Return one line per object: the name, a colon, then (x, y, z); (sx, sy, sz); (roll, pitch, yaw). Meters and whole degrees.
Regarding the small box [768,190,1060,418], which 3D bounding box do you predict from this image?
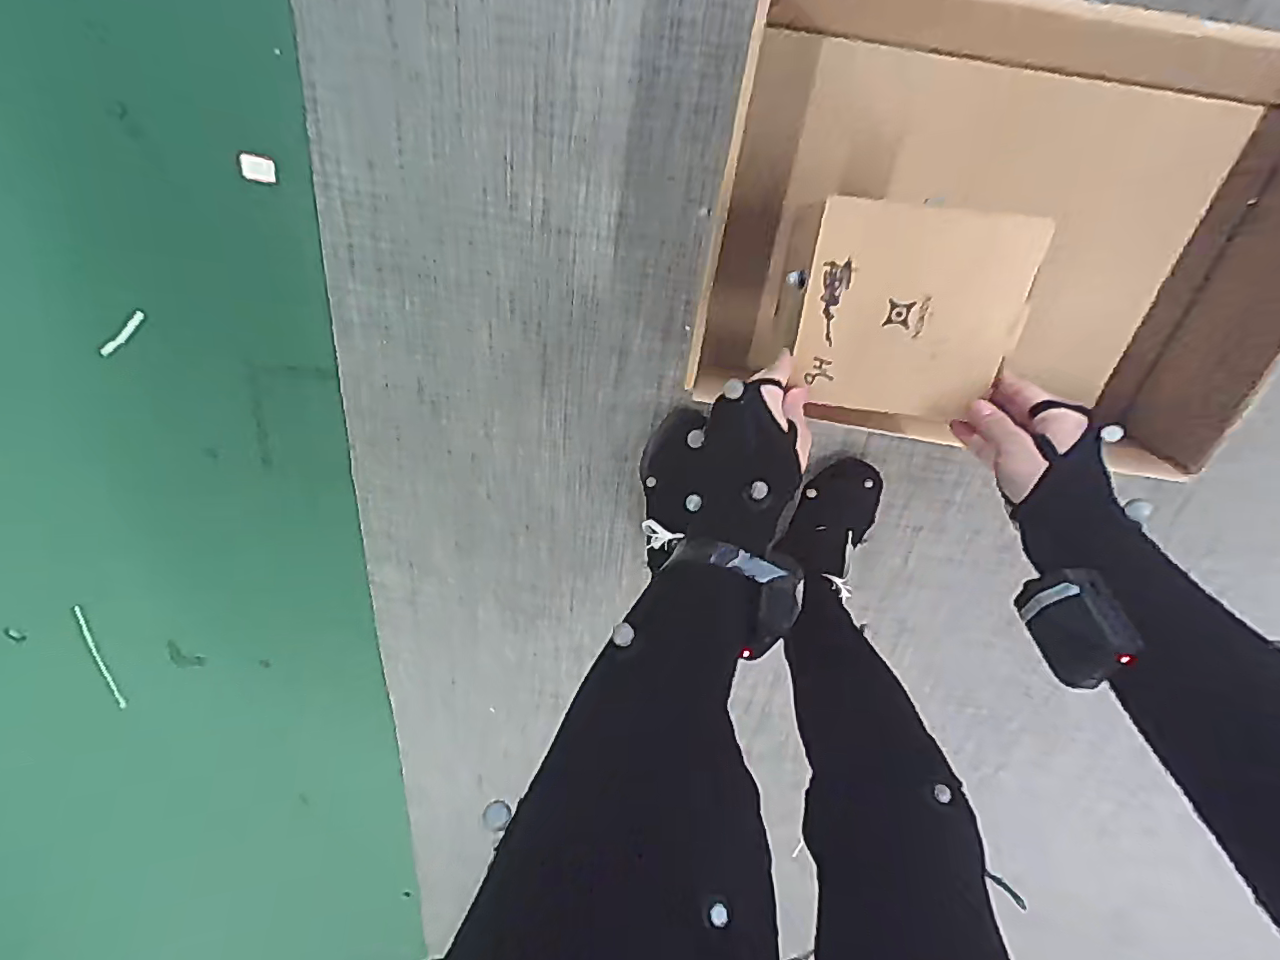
small box: (0.232, -0.171, 0.515); (0.179, 0.176, 0.168); (8, 115, 4)
